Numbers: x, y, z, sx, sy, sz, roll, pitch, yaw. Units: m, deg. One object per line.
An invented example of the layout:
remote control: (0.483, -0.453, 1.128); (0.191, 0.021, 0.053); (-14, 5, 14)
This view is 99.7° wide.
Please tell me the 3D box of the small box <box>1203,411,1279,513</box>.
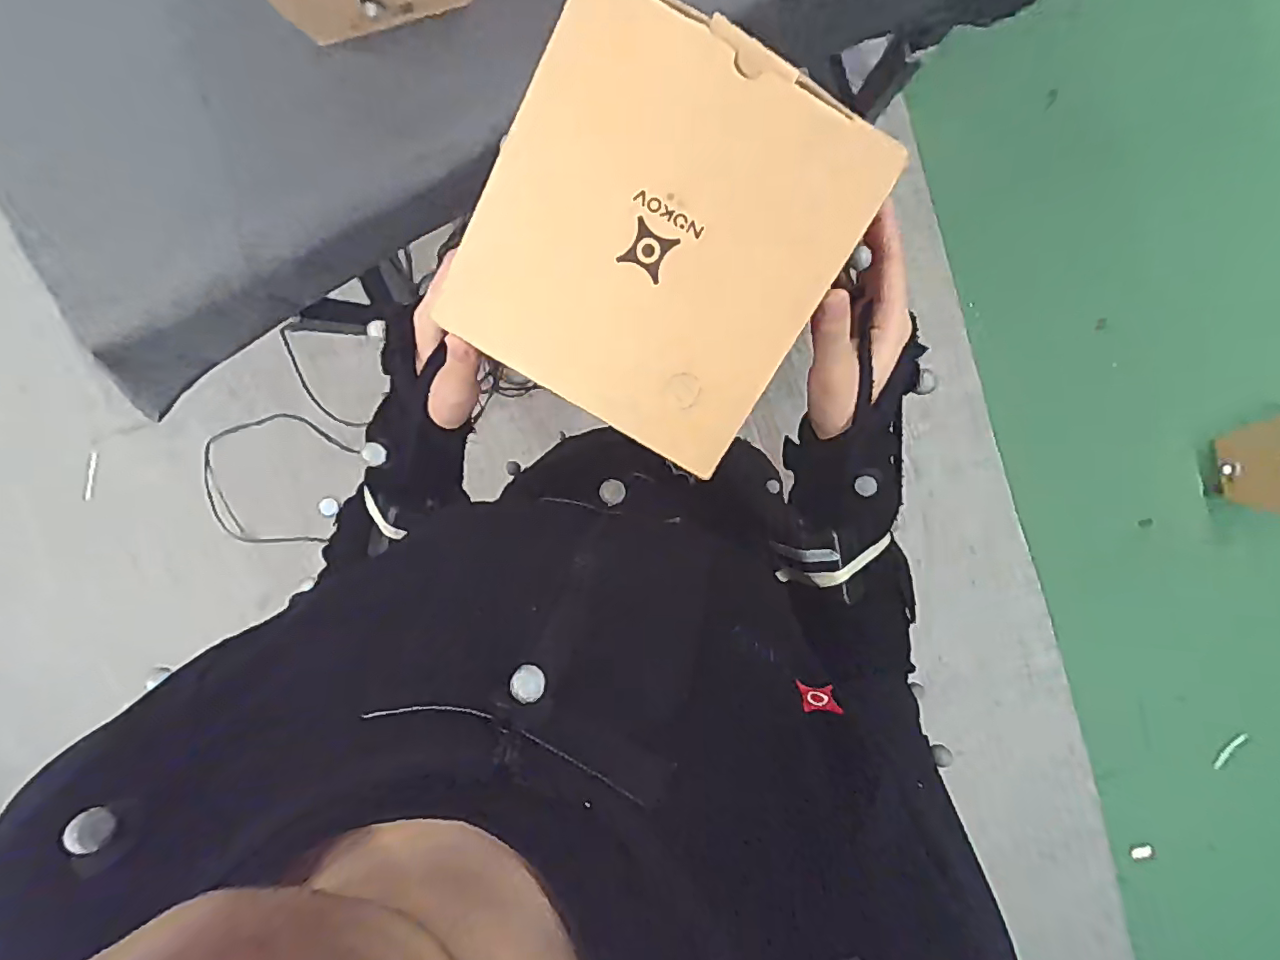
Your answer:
small box: (1.424, -0.045, 1.192); (0.179, 0.176, 0.168); (-22, 99, 8)

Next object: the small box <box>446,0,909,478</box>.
small box: (0.019, -0.130, 0.336); (0.168, 0.176, 0.179); (30, 104, -3)
